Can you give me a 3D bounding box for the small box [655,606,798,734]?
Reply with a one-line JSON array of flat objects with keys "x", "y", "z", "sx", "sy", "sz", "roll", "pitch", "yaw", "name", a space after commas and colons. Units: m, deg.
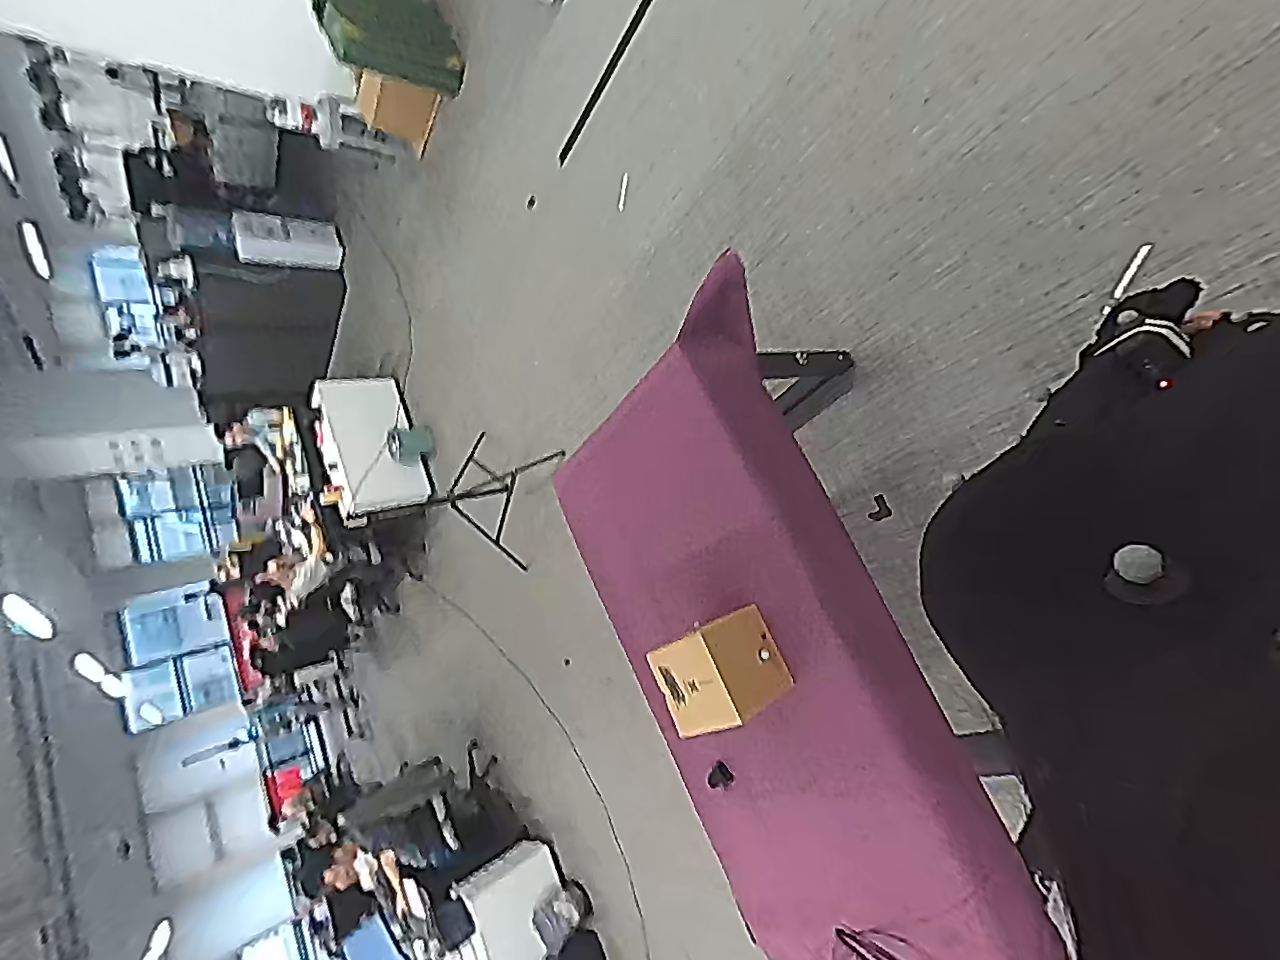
[{"x": 0.165, "y": 0.362, "z": 1.037, "sx": 0.179, "sy": 0.176, "sz": 0.168, "roll": -41, "pitch": 68, "yaw": 46, "name": "small box"}]
